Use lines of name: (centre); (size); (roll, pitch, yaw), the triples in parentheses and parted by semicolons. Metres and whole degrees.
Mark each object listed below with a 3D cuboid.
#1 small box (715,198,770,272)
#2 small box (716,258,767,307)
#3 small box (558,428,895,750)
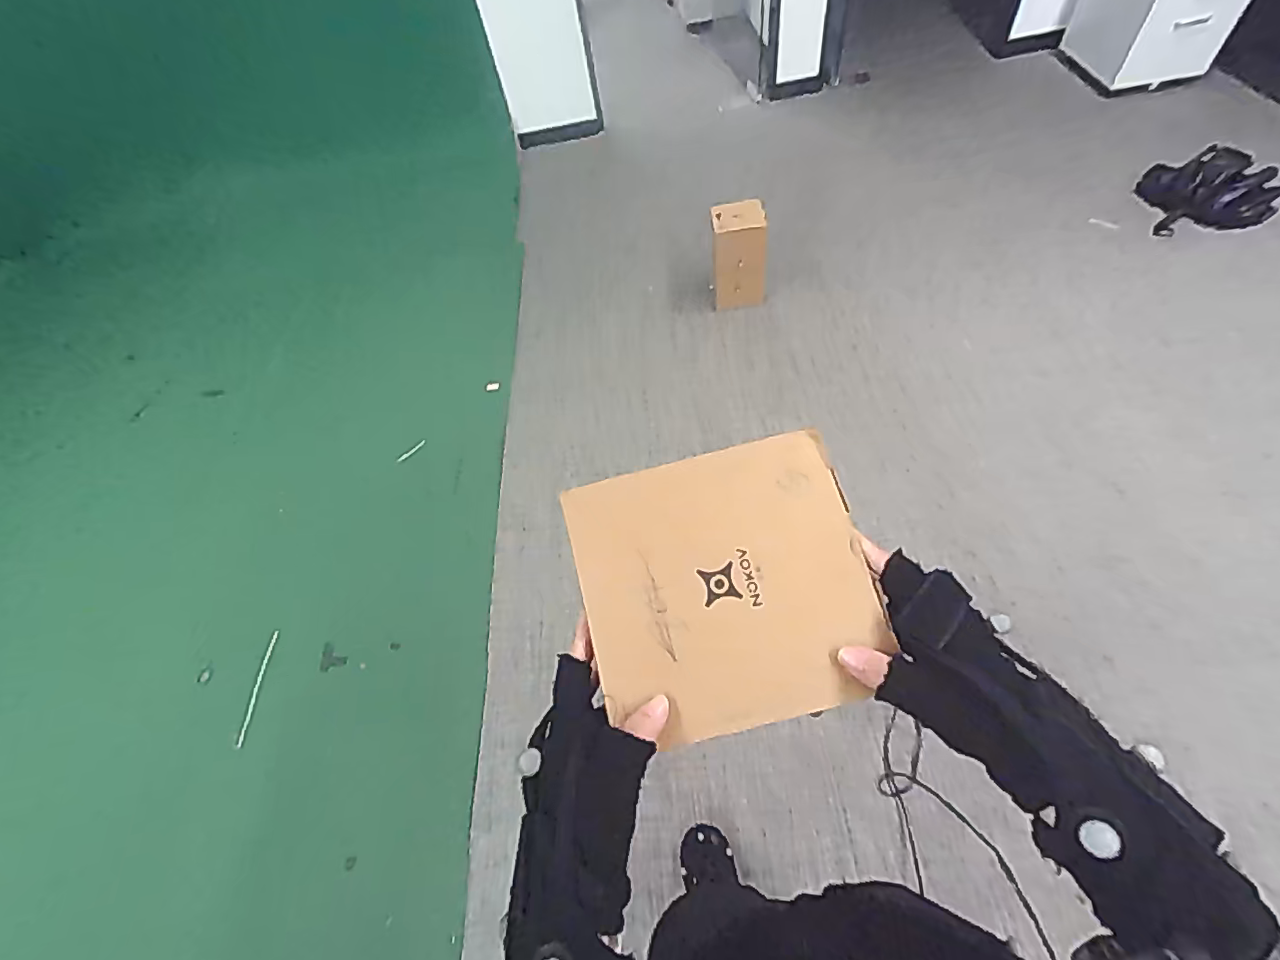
small box: (0.358, -0.864, 1.915); (0.179, 0.176, 0.168); (-5, 57, 7)
small box: (0.381, -0.781, 2.051); (0.179, 0.176, 0.168); (-4, 55, 8)
small box: (0.053, 0.082, 0.412); (0.179, 0.176, 0.168); (-16, 73, 1)
